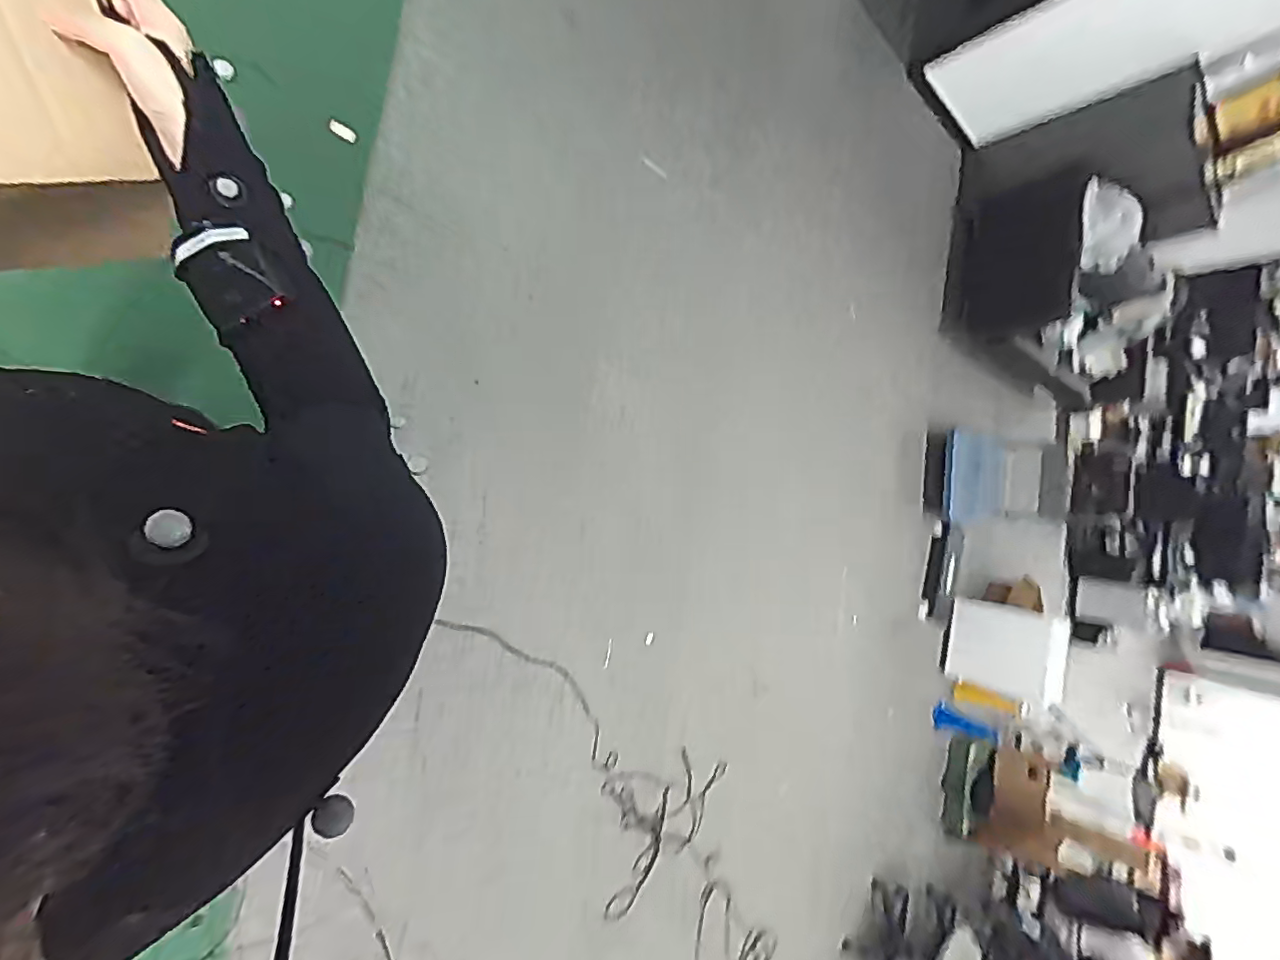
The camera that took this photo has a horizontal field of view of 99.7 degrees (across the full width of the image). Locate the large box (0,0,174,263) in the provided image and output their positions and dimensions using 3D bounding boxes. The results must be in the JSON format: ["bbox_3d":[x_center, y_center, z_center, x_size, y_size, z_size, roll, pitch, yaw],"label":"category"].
[{"bbox_3d":[-0.621,-0.318,0.355,0.408,0.320,0.320,-24,112,-36],"label":"large box"}]
